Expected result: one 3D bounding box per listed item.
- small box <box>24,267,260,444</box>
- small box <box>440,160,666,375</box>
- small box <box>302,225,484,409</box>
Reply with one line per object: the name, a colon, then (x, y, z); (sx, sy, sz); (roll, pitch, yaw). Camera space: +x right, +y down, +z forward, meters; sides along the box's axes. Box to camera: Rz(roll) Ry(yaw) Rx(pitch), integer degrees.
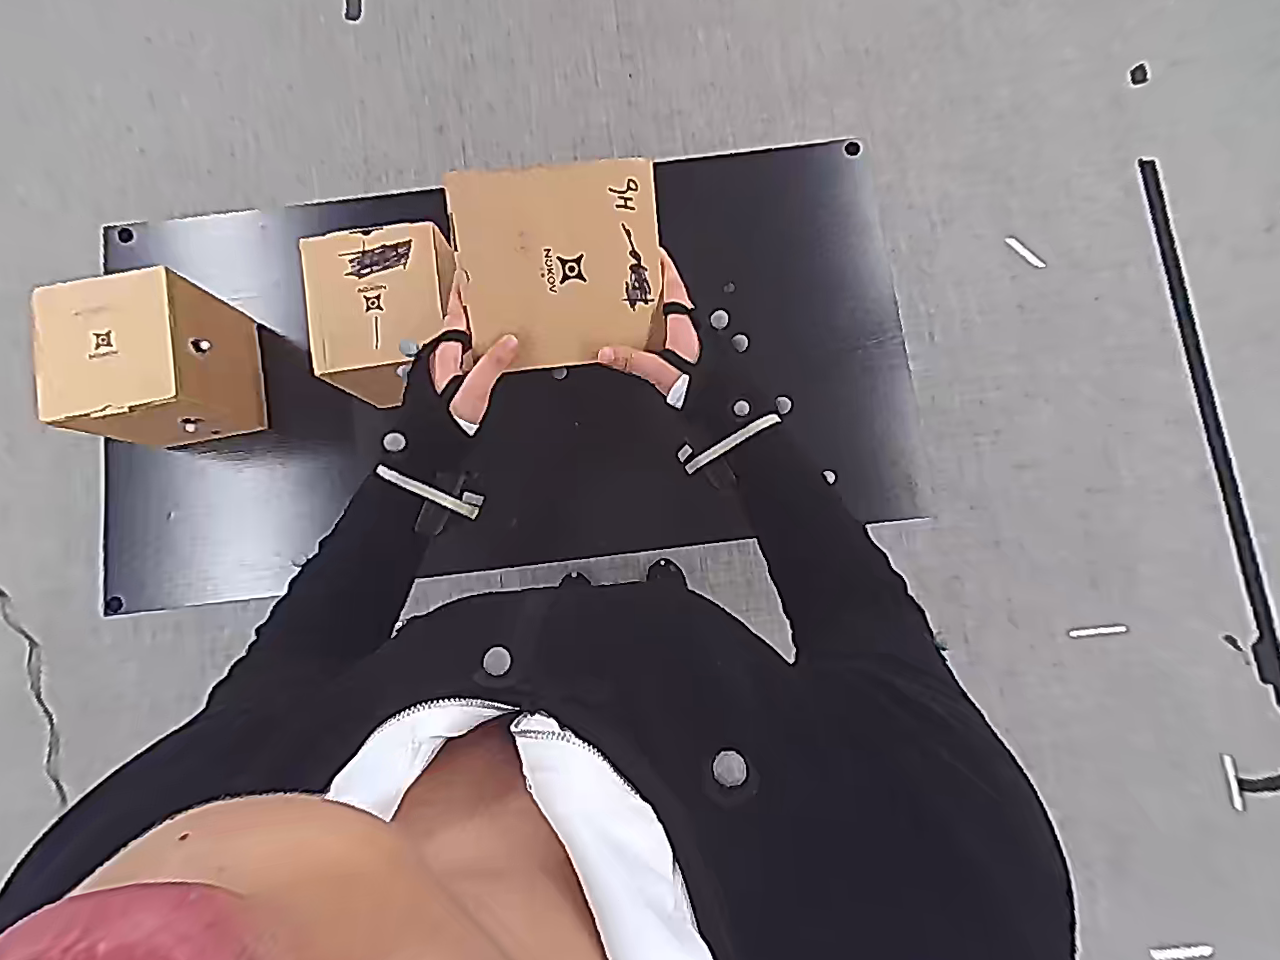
small box: (-0.649, -0.152, 0.726); (0.168, 0.176, 0.179); (-11, 82, -3)
small box: (-0.075, -0.193, 0.531); (0.179, 0.176, 0.168); (-6, 104, -5)
small box: (-0.321, -0.209, 0.731); (0.168, 0.176, 0.179); (-8, 84, -1)
